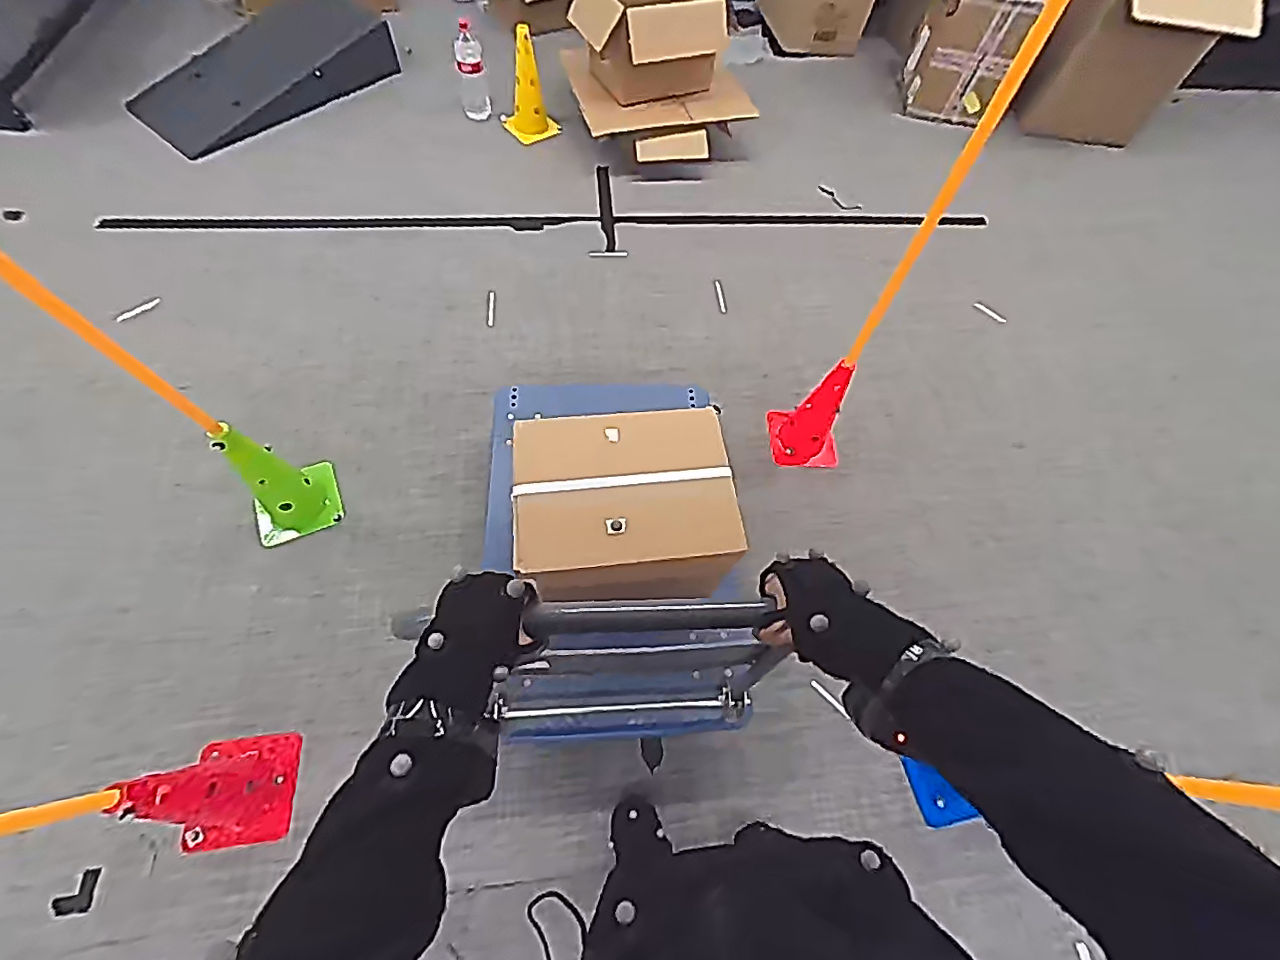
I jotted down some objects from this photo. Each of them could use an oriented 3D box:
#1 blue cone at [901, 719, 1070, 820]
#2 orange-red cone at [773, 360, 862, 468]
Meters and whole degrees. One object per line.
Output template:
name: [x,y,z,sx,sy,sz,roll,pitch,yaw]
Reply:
blue cone: [0.731,0.590,1.112,0.193,0.380,0.192,-6,62,-9]
orange-red cone: [0.523,-0.206,1.502,0.199,0.360,0.198,4,62,-4]
